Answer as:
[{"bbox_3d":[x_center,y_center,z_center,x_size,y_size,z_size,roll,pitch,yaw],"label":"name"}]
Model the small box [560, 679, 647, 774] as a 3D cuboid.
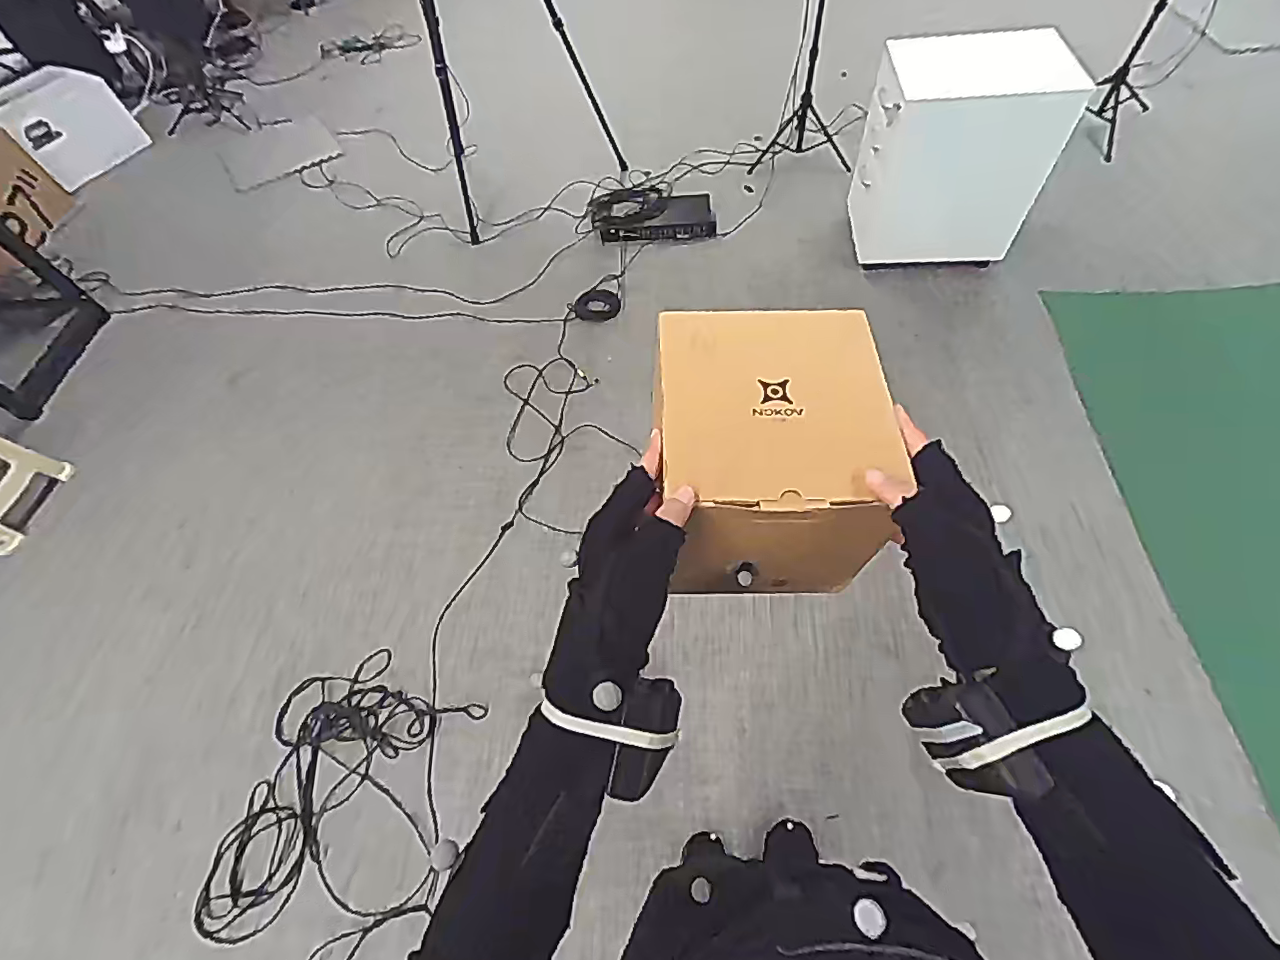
[{"bbox_3d":[-0.076,0.579,1.263,0.168,0.176,0.179,2,57,7],"label":"small box"}]
